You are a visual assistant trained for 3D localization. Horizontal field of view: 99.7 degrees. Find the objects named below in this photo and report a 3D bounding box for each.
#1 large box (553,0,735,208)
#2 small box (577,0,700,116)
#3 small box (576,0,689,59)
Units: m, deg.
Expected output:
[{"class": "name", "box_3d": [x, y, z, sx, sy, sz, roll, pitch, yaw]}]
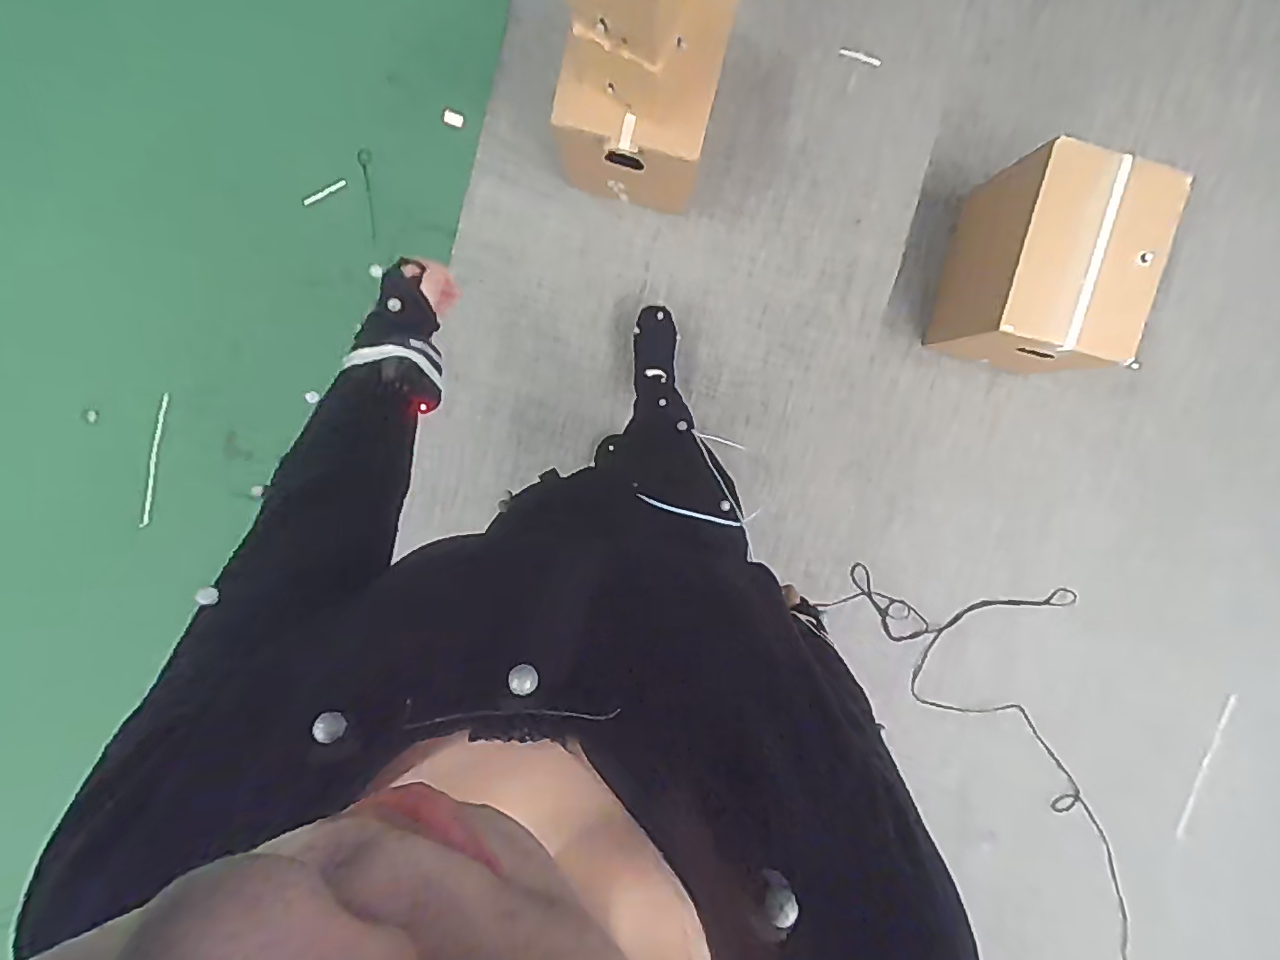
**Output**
[{"class": "large box", "box_3d": [0.013, -0.899, 1.214, 0.320, 0.320, 0.408, 13, 96, -3]}, {"class": "small box", "box_3d": [-0.001, -0.818, 0.980, 0.168, 0.176, 0.179, 24, 97, -4]}, {"class": "small box", "box_3d": [-0.001, -0.806, 0.817, 0.168, 0.176, 0.179, 28, 98, -3]}]
